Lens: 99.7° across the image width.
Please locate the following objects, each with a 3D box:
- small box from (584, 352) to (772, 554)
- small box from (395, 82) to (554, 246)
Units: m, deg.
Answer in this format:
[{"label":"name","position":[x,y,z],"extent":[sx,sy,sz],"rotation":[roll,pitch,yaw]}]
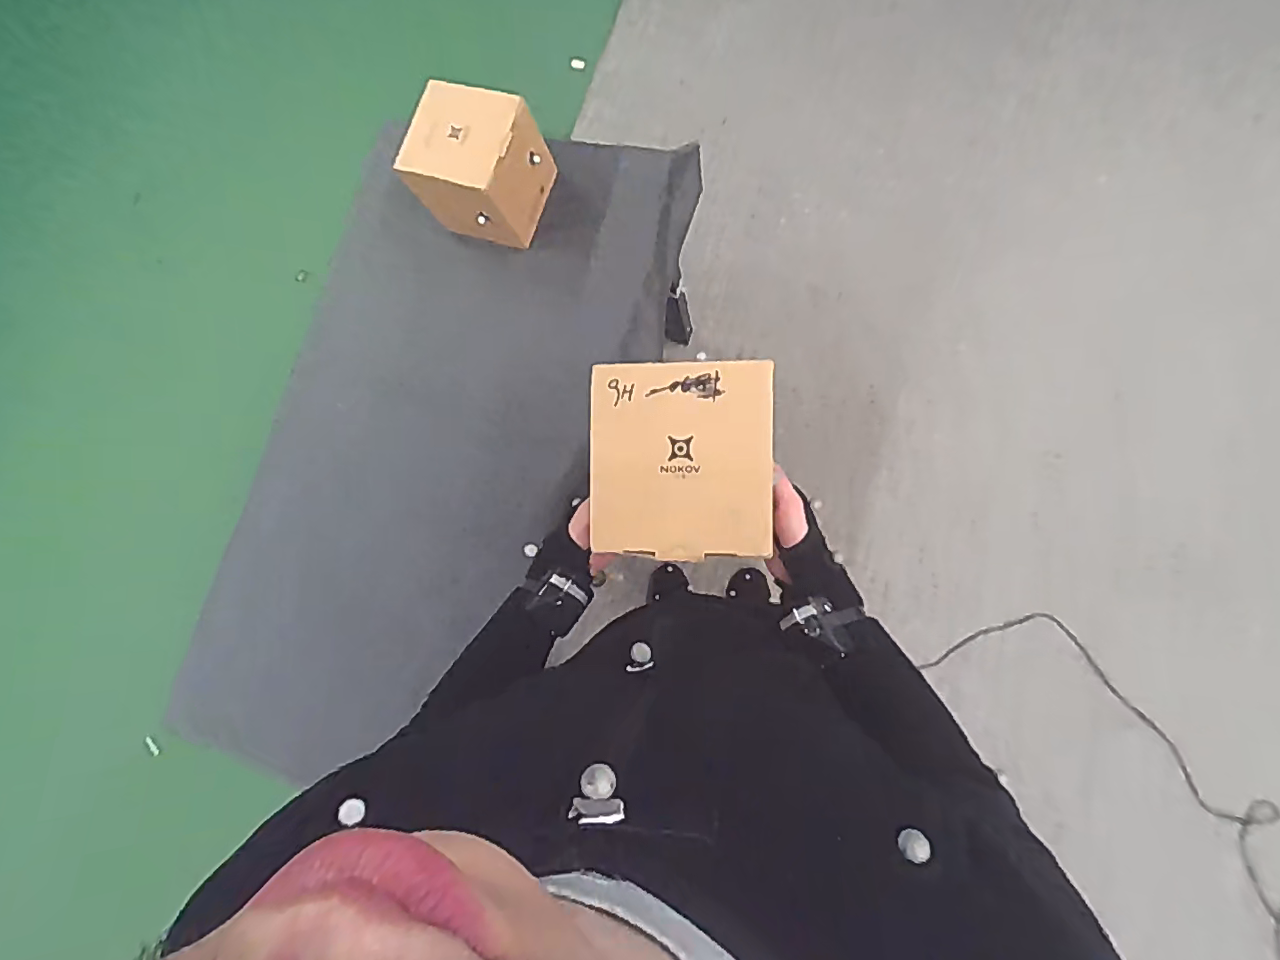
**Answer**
[{"label":"small box","position":[0.043,-0.025,0.553],"extent":[0.168,0.176,0.179],"rotation":[1,89,8]},{"label":"small box","position":[-0.270,-0.530,0.927],"extent":[0.179,0.176,0.168],"rotation":[18,84,14]}]
